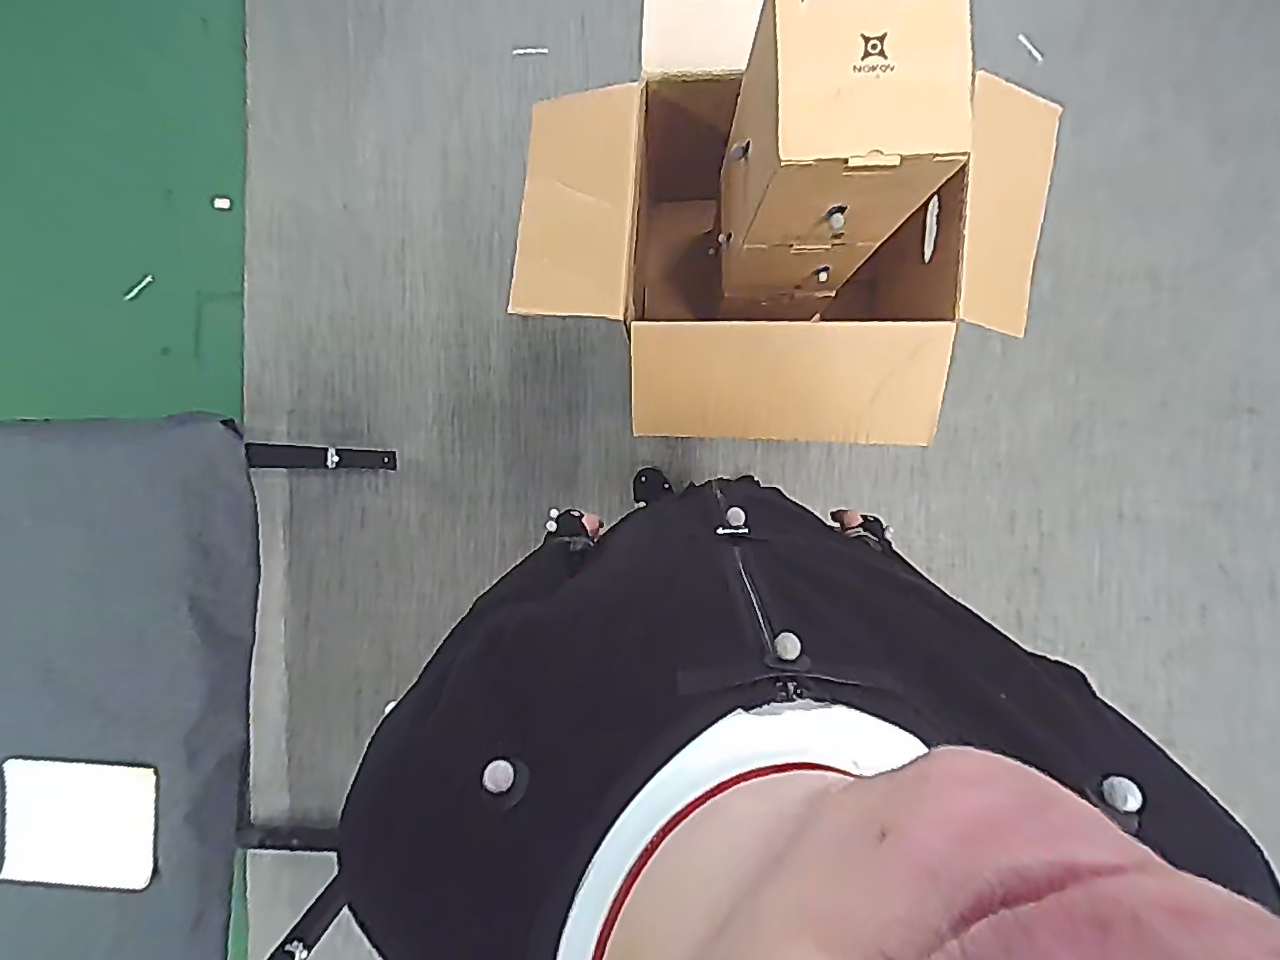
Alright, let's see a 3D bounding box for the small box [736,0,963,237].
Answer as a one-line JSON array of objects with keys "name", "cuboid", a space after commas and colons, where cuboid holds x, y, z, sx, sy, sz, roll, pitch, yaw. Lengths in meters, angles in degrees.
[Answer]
[{"name": "small box", "cuboid": [0.194, -0.360, 0.543, 0.168, 0.176, 0.179, -1, 91, 0]}]
